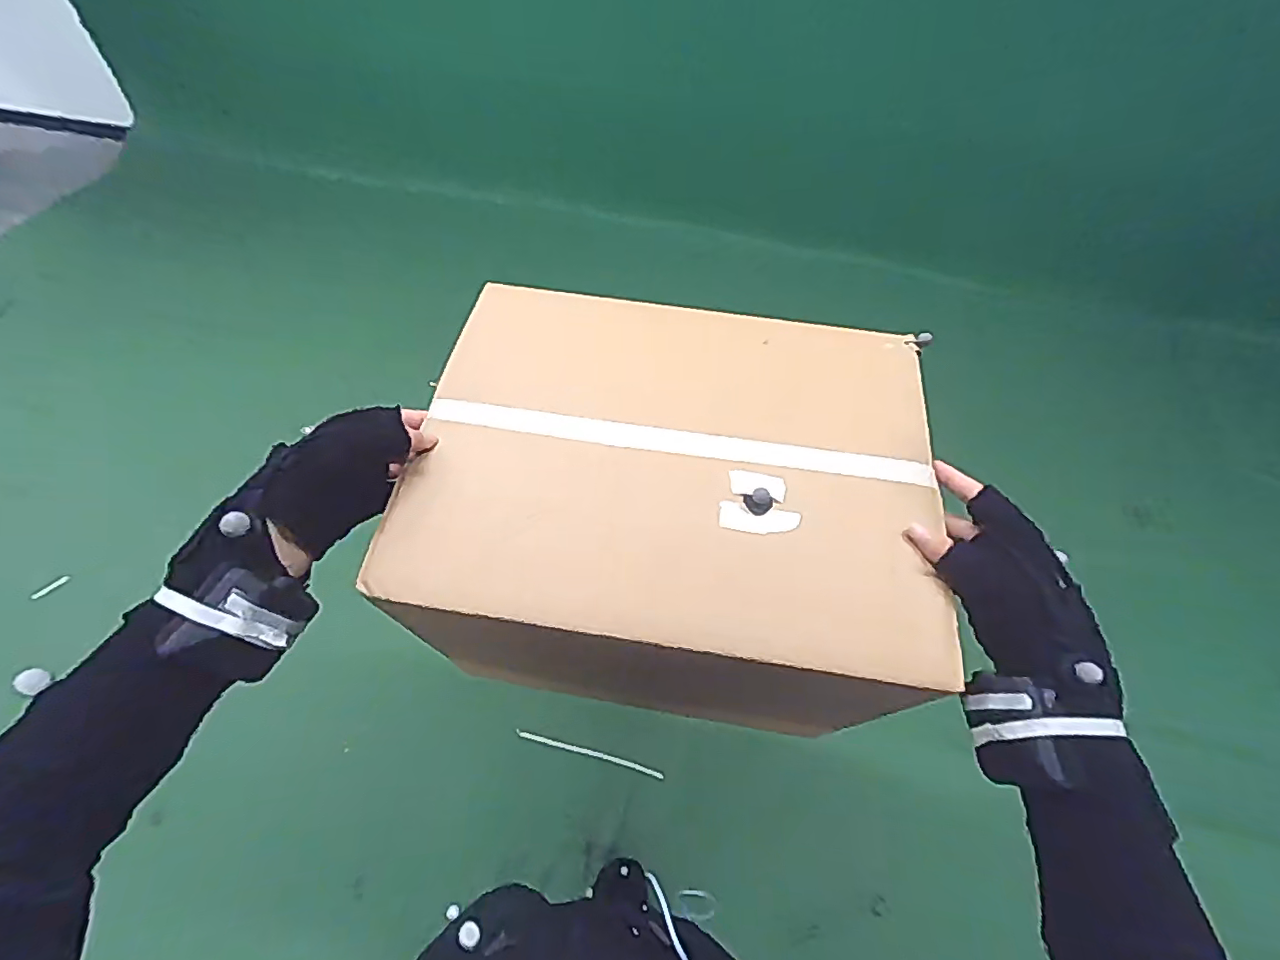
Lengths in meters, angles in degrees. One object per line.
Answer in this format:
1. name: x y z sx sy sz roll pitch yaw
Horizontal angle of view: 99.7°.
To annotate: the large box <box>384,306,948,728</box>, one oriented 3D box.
1. large box: 0.028 0.055 0.575 0.408 0.320 0.320 8 60 4
